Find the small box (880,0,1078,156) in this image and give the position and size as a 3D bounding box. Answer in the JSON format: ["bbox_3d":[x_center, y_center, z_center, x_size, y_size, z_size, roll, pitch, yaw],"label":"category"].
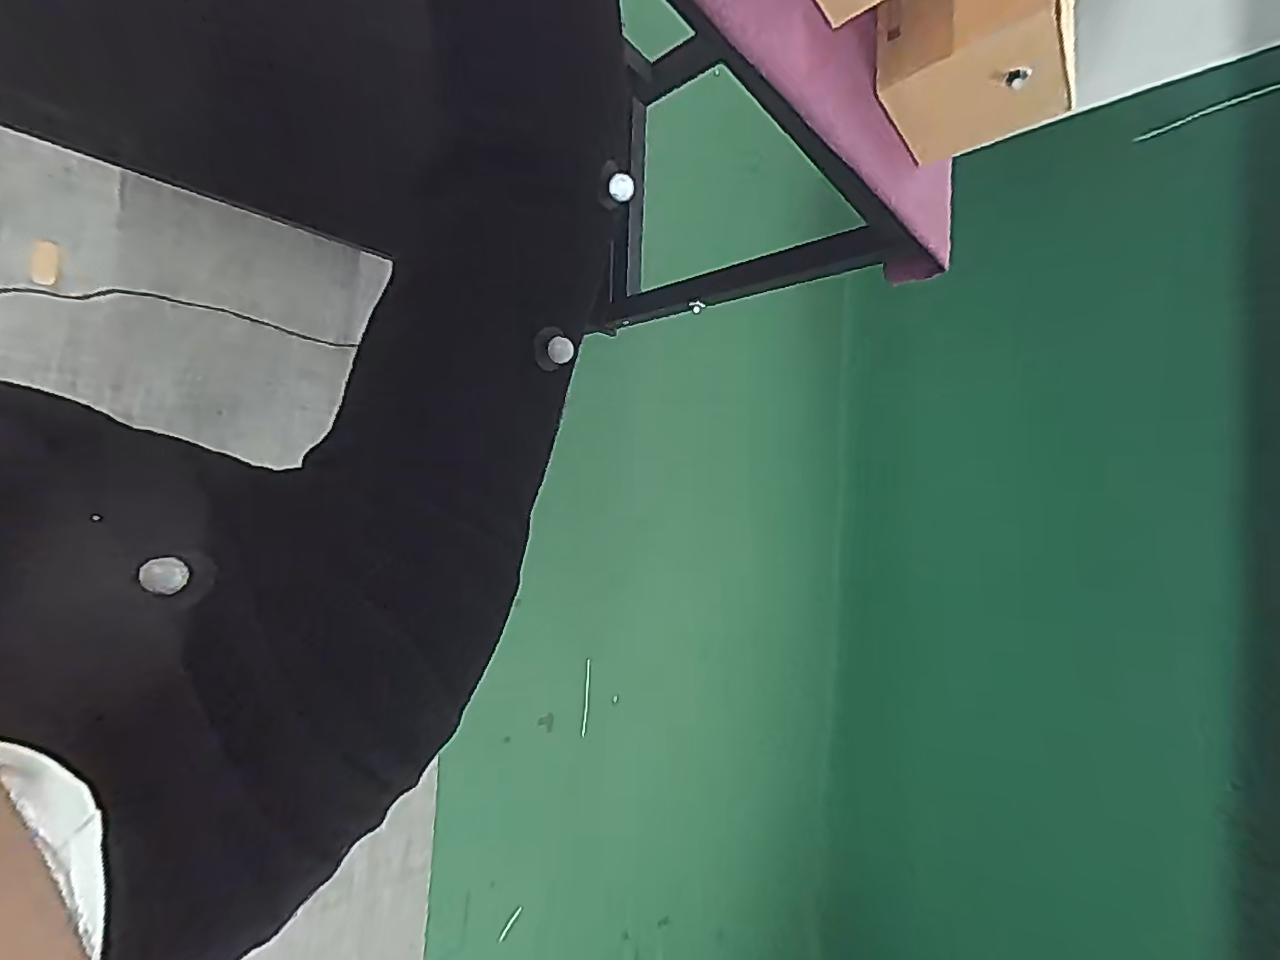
[{"bbox_3d":[0.389,-0.518,0.625,0.179,0.176,0.168,5,86,-48],"label":"small box"}]
